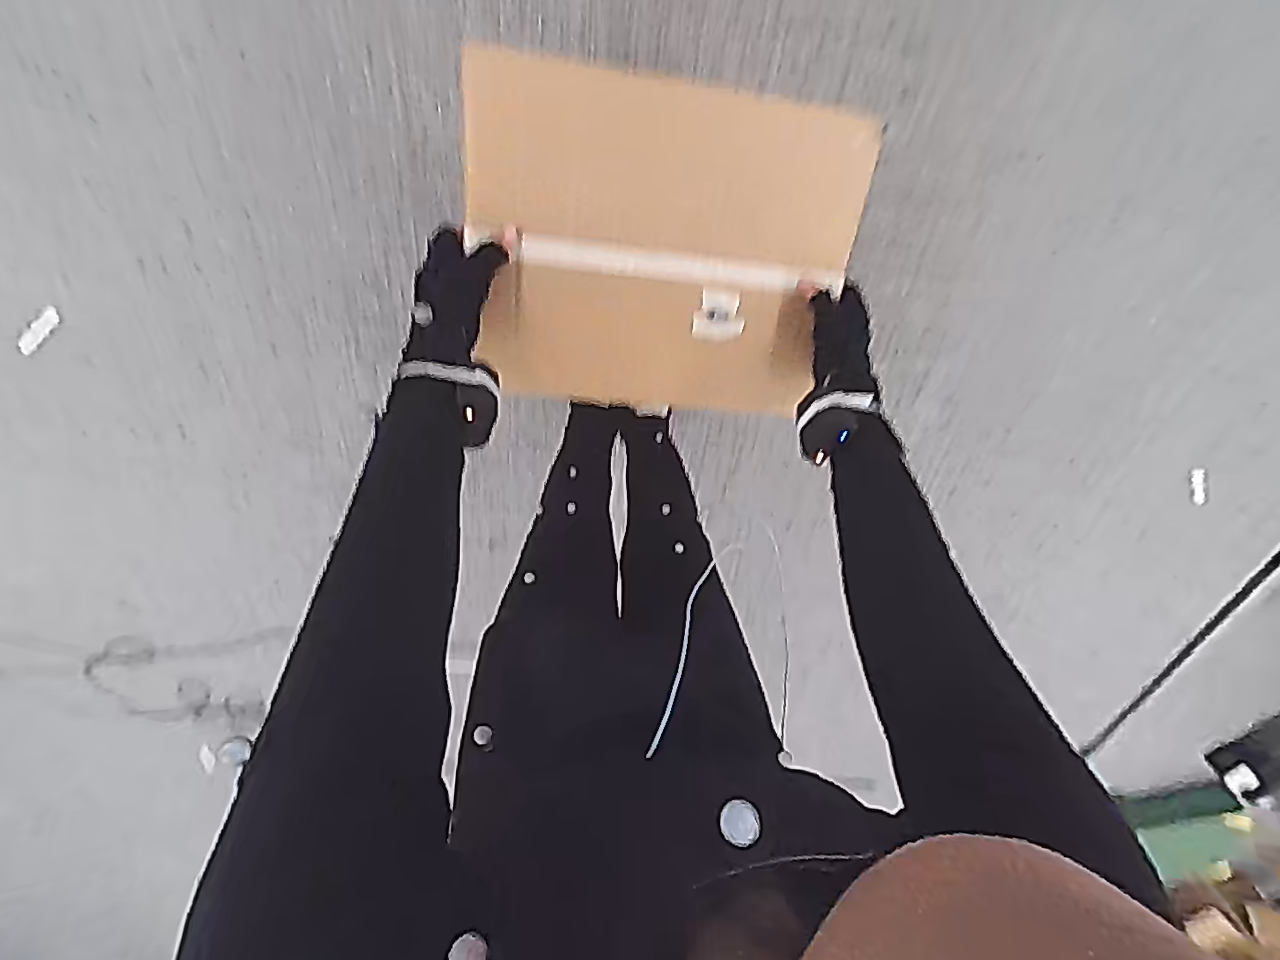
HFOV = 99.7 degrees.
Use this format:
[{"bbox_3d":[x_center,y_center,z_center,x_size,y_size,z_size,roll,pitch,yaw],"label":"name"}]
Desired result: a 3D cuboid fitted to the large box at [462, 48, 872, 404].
[{"bbox_3d":[0.000,-0.302,0.702,0.408,0.320,0.320,2,118,-11],"label":"large box"}]
